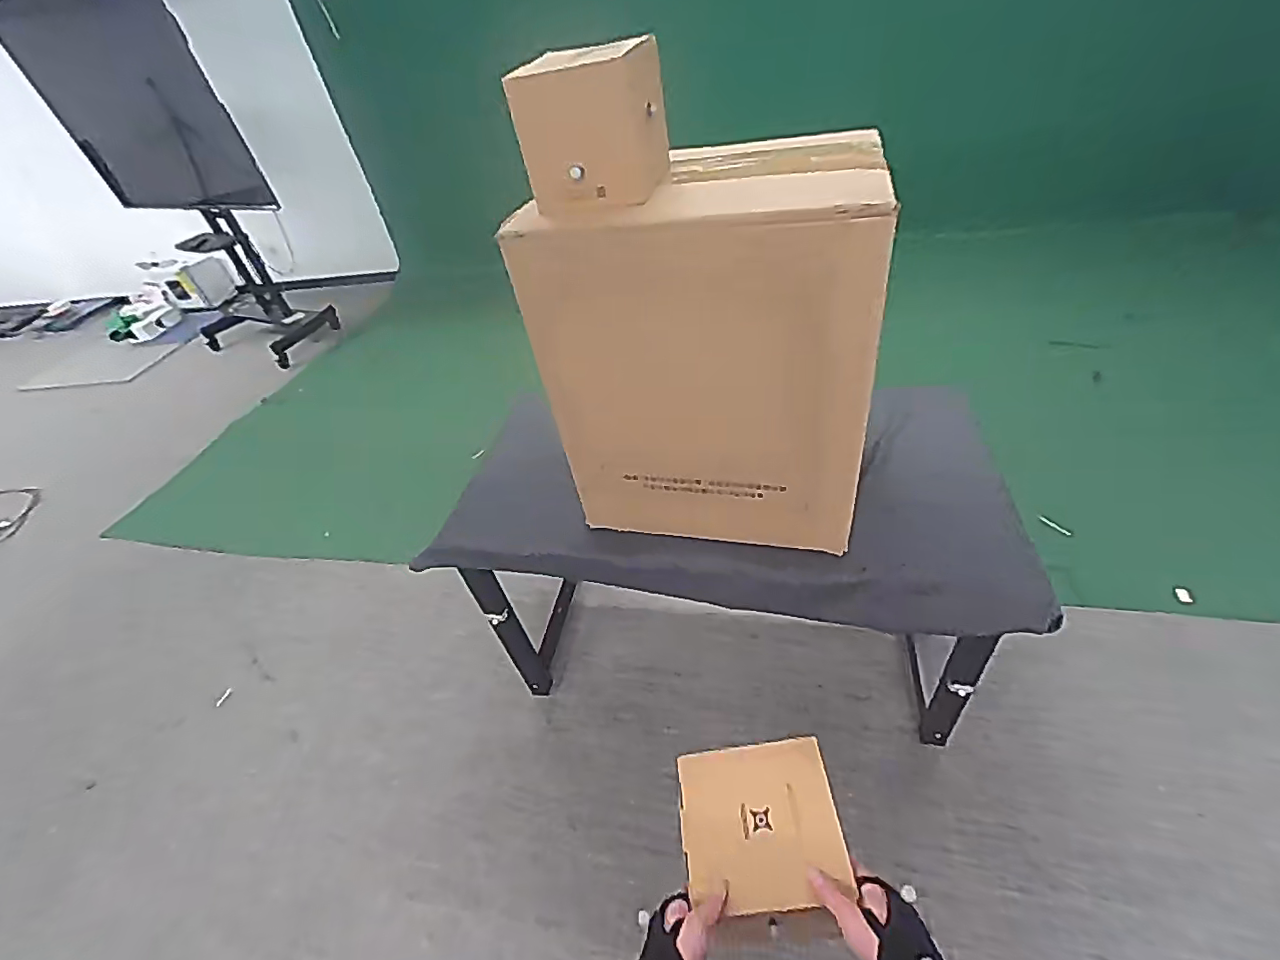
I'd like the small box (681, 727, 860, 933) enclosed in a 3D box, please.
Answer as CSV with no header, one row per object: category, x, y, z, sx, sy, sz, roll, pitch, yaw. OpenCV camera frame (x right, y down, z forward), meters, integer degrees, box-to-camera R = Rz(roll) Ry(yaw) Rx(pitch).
small box,0.156,0.432,0.664,0.179,0.176,0.168,-11,40,6

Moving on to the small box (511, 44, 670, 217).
small box,-0.057,-0.501,0.783,0.168,0.176,0.179,3,46,17
